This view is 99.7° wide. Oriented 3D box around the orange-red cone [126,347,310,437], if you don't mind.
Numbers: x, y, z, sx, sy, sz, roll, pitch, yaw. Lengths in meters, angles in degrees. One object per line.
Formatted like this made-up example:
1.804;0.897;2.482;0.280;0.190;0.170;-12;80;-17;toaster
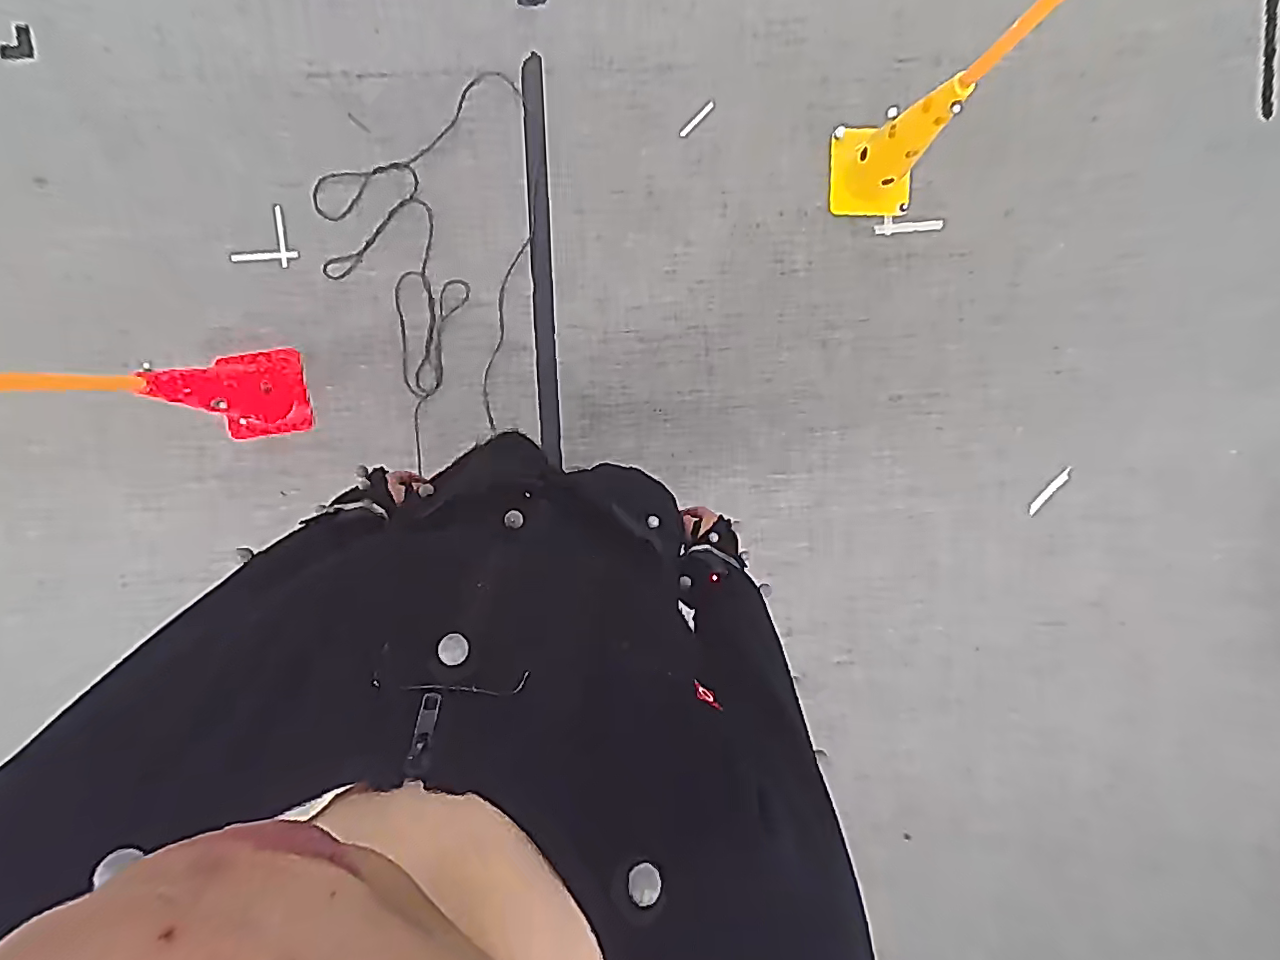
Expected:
-0.885;-0.190;1.112;0.199;0.360;0.198;-8;97;-4;orange-red cone
